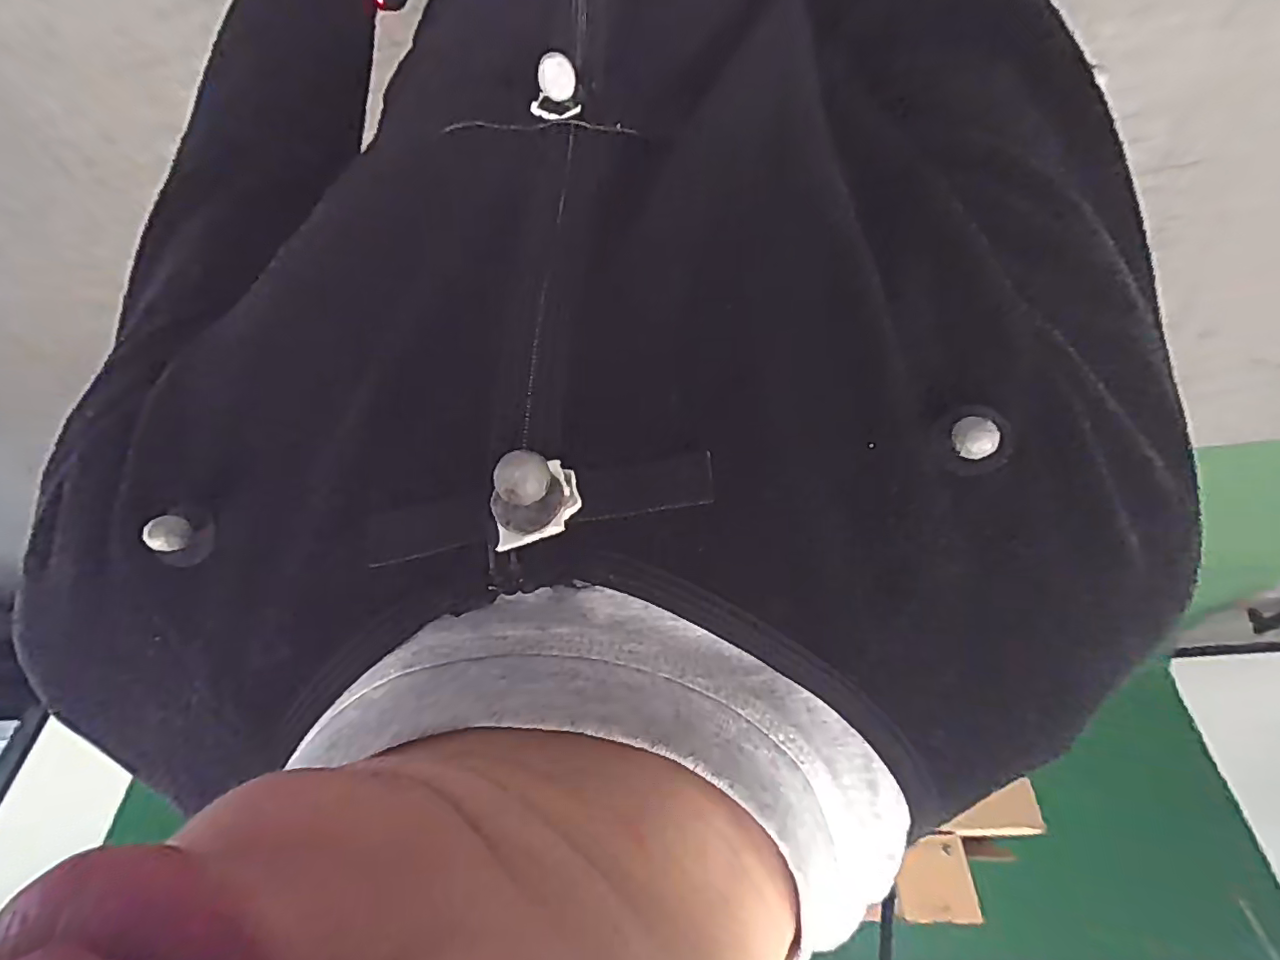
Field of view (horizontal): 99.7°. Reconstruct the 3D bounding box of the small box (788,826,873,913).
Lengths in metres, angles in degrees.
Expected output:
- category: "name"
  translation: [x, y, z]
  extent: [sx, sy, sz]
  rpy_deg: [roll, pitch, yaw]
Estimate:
- category: "small box"
  translation: [0.475, 0.984, 1.374]
  extent: [0.168, 0.176, 0.179]
  rpy_deg: [-6, 144, 8]
